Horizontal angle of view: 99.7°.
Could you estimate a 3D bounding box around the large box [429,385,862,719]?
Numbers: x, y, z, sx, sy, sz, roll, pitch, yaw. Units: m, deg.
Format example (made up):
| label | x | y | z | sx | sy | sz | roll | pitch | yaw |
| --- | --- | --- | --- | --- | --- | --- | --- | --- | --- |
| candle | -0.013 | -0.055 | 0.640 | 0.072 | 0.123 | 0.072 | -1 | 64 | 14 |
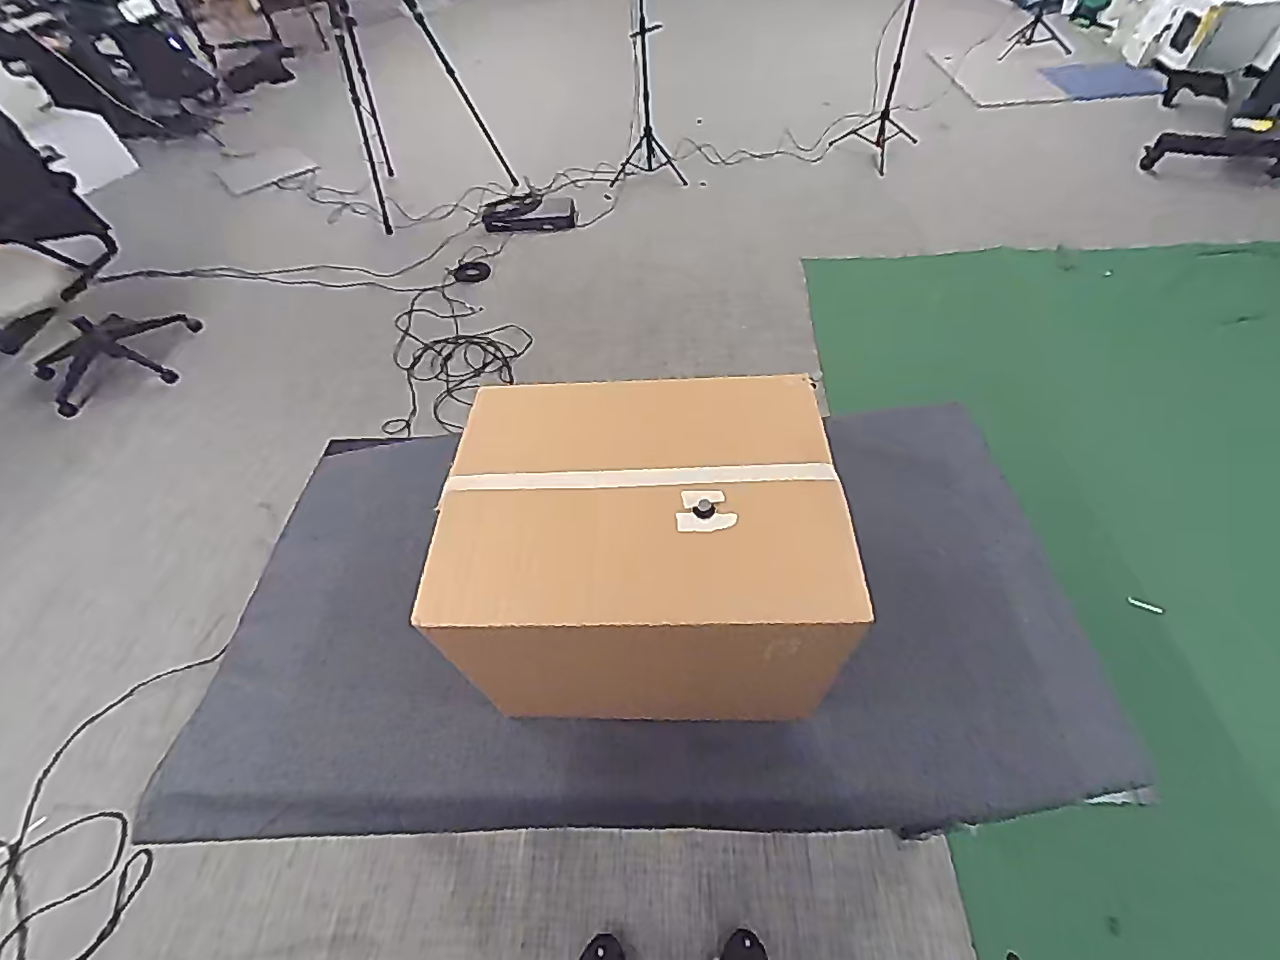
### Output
| label | x | y | z | sx | sy | sz | roll | pitch | yaw |
| --- | --- | --- | --- | --- | --- | --- | --- | --- | --- |
| large box | 0.010 | 0.102 | 0.694 | 0.408 | 0.320 | 0.320 | -2 | 53 | 3 |
